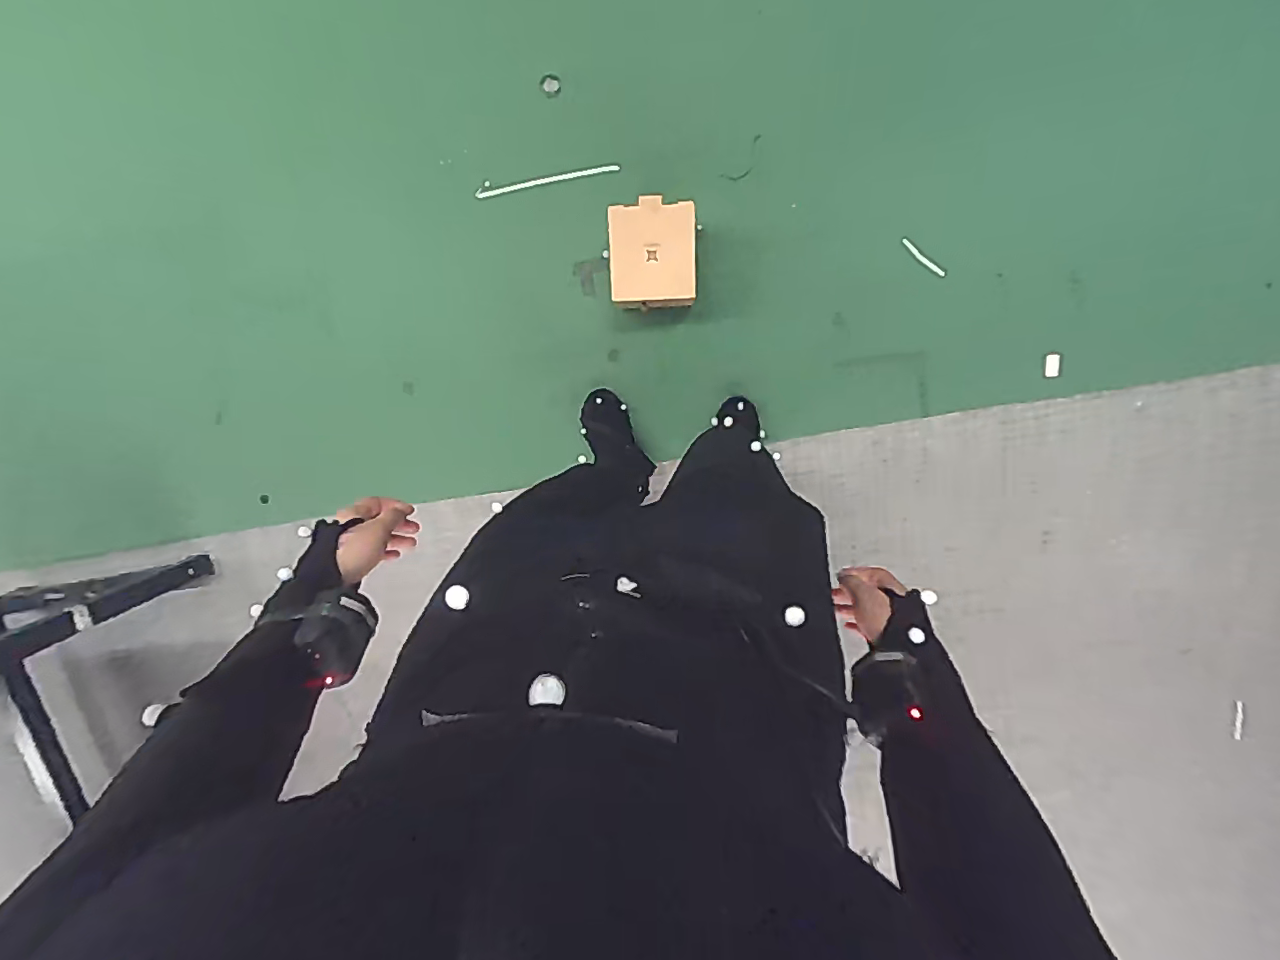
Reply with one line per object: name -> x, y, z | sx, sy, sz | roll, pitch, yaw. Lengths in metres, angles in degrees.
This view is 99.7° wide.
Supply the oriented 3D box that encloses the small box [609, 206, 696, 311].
small box -> 0.030, -0.445, 1.114 | 0.168, 0.176, 0.179 | -2, 102, 3
